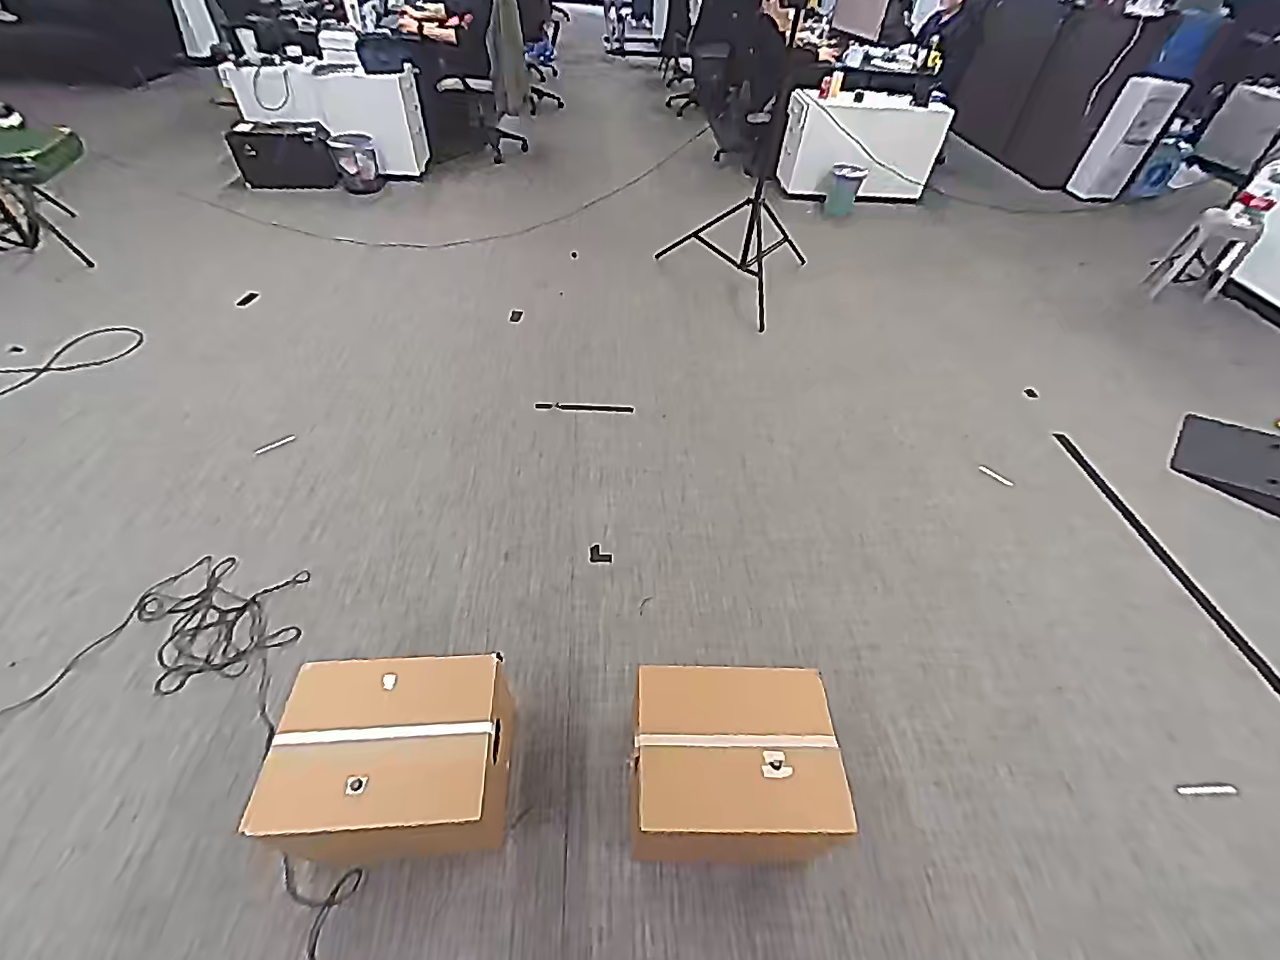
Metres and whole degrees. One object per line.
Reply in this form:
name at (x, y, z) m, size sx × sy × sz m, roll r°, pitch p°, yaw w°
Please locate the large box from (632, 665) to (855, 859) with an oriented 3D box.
large box at (0.191, 0.627, 1.202) m, size 0.408 × 0.320 × 0.320 m, roll 3°, pitch 47°, yaw -3°
